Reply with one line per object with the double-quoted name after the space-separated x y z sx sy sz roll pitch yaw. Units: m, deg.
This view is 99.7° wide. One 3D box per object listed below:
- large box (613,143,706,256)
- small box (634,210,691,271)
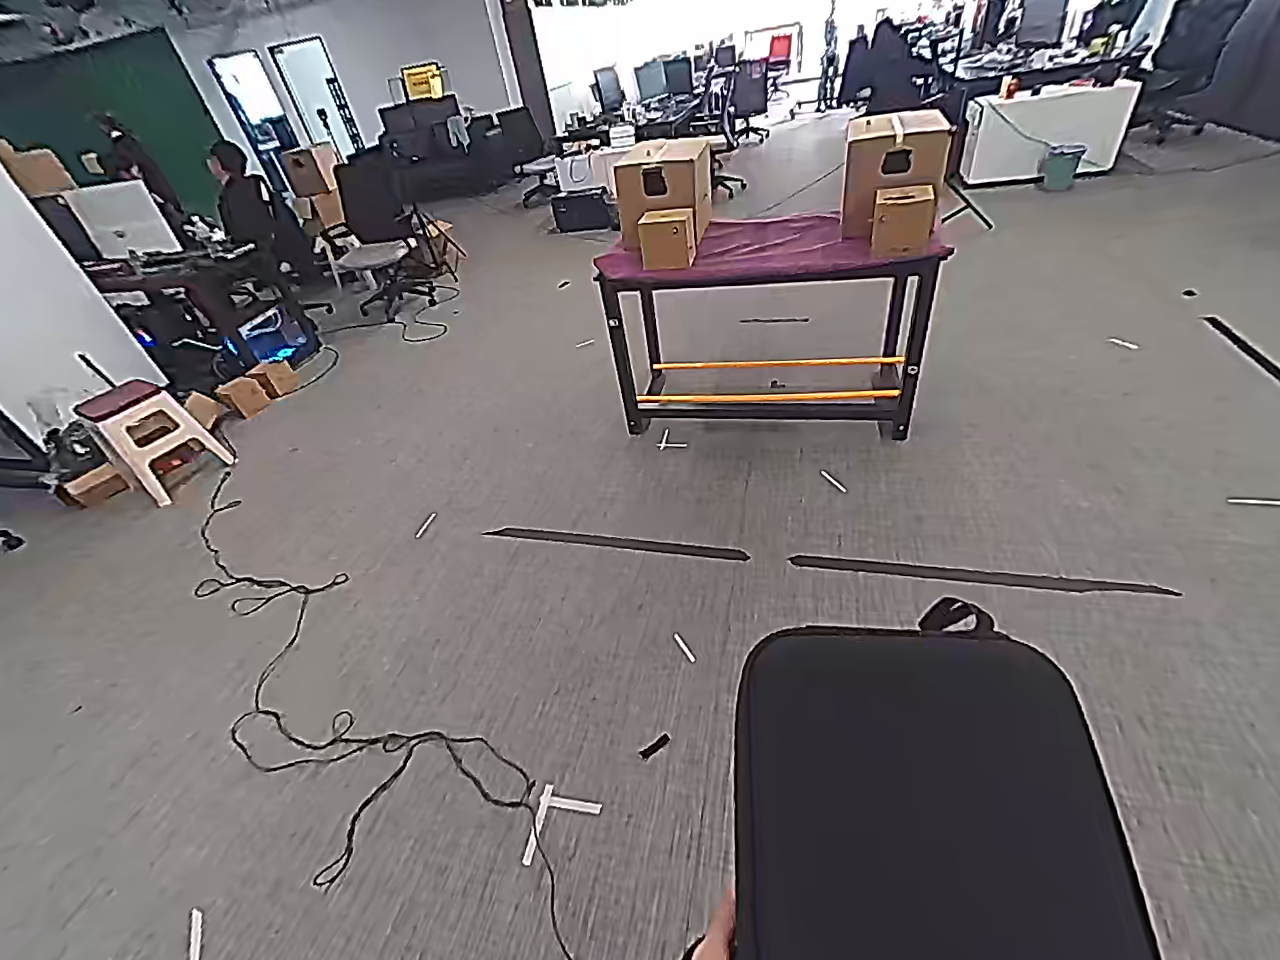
0.099 -1.158 2.223 0.320 0.320 0.408 3 43 14 "large box"
0.090 -0.885 2.006 0.179 0.176 0.168 1 39 14 "small box"
